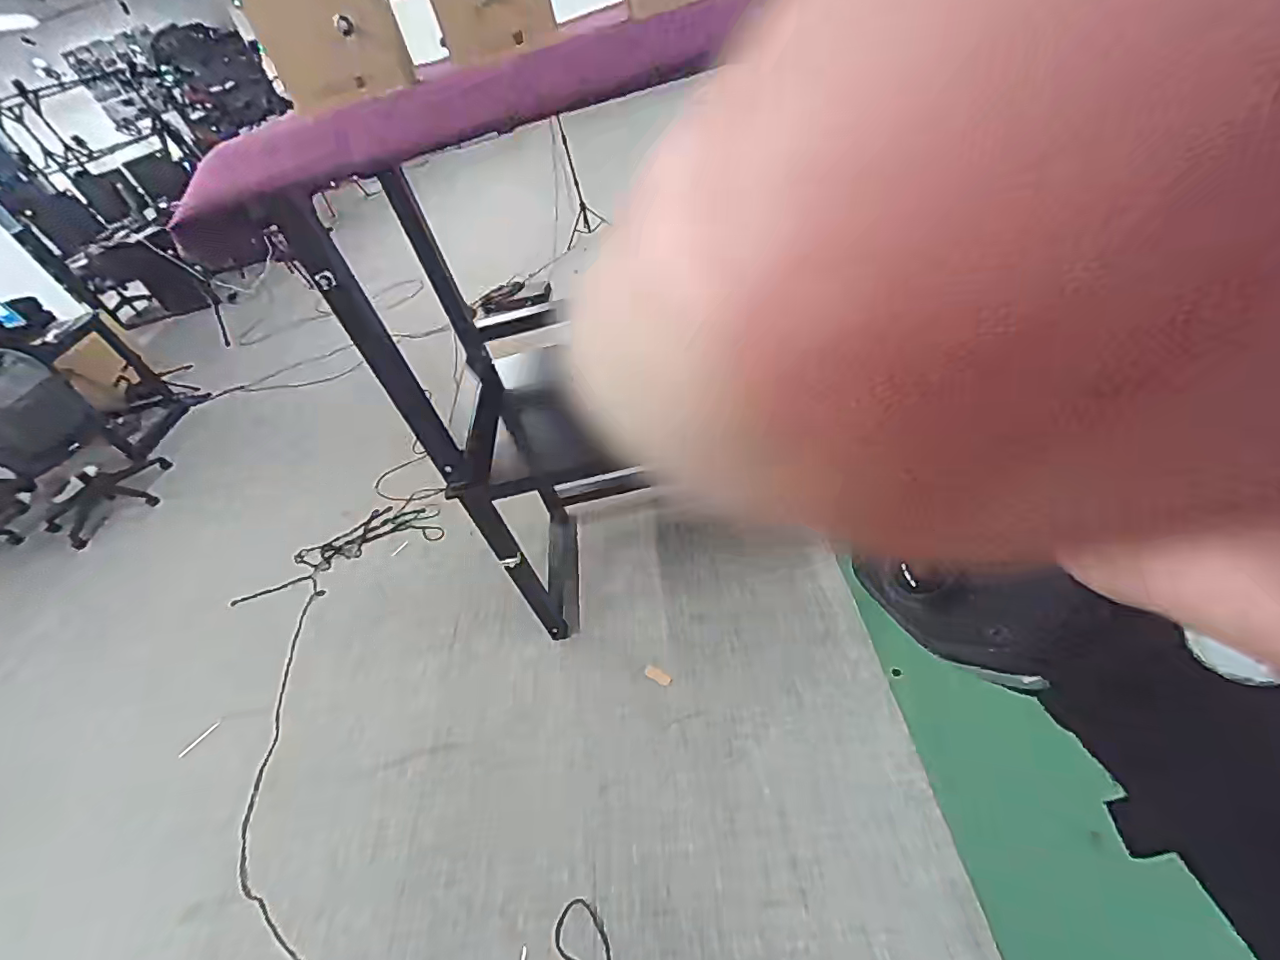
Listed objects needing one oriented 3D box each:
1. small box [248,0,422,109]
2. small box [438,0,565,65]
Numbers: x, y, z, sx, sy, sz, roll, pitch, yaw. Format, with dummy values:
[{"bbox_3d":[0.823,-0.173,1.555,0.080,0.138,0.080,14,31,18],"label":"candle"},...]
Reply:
[{"bbox_3d":[-0.448,-0.681,0.813,0.168,0.176,0.179,-15,42,0],"label":"small box"},{"bbox_3d":[-0.215,-0.741,0.801,0.168,0.176,0.179,-15,42,1],"label":"small box"}]
